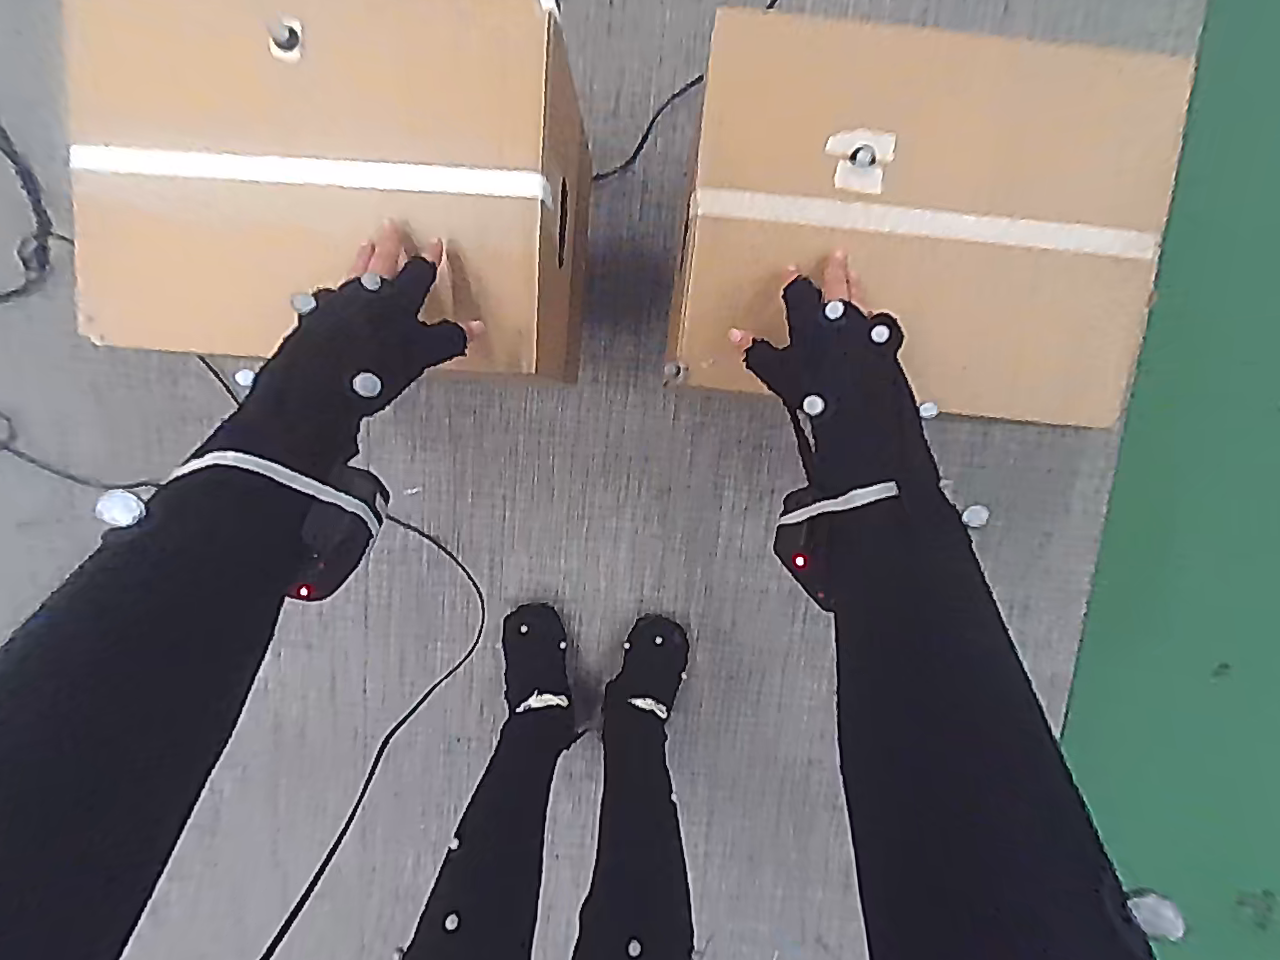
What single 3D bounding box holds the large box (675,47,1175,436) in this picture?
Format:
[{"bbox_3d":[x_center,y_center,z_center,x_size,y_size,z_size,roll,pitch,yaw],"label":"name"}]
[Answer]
[{"bbox_3d":[0.262,-0.235,0.643,0.408,0.320,0.320,7,98,0],"label":"large box"}]
